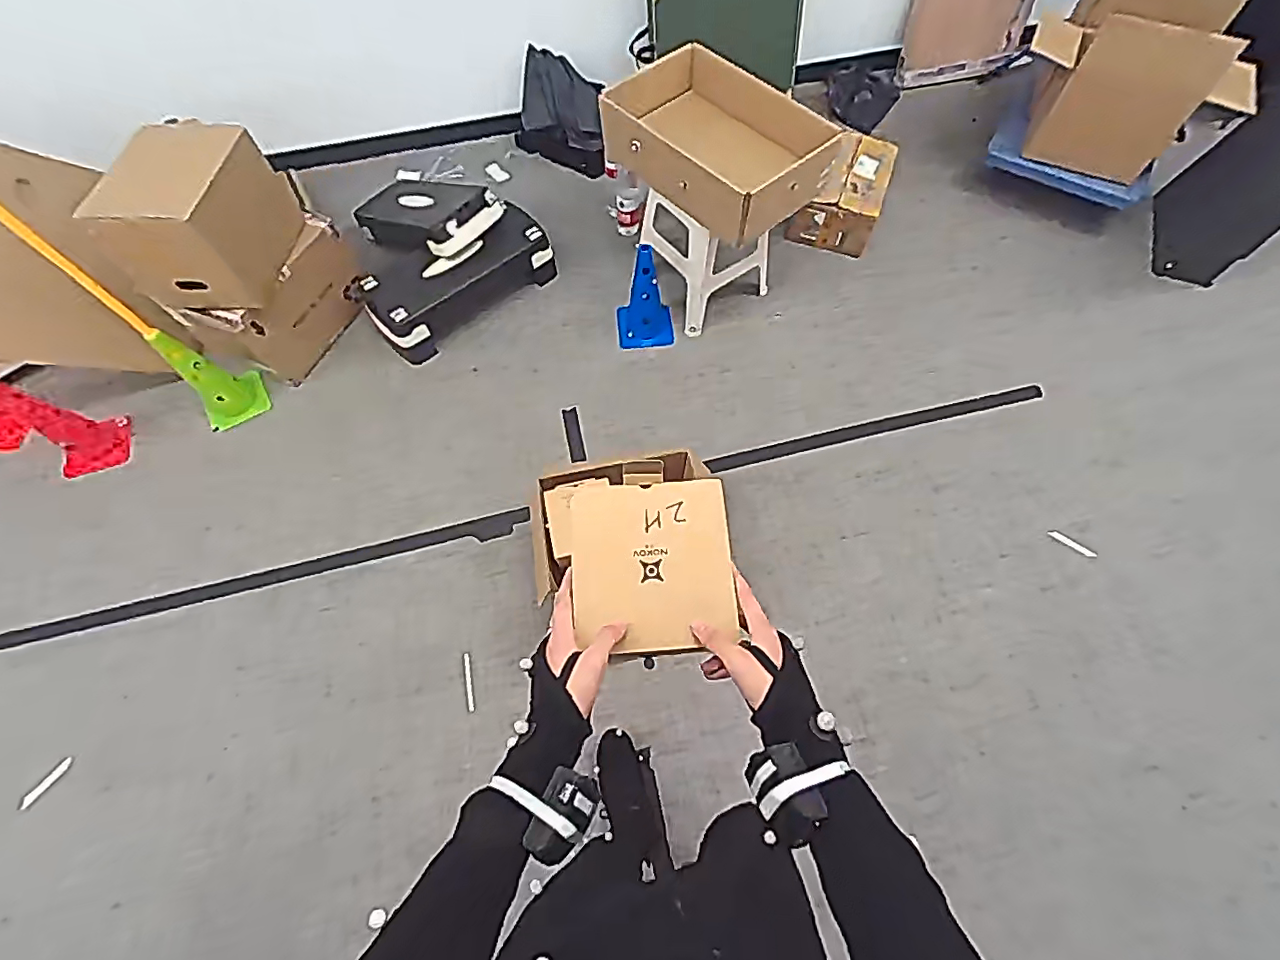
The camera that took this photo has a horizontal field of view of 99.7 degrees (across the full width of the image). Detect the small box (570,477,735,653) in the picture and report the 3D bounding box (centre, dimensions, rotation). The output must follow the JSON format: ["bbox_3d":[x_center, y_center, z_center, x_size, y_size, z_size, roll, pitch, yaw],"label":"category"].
[{"bbox_3d":[0.008,0.107,0.633,0.168,0.176,0.179,-3,71,-4],"label":"small box"}]
